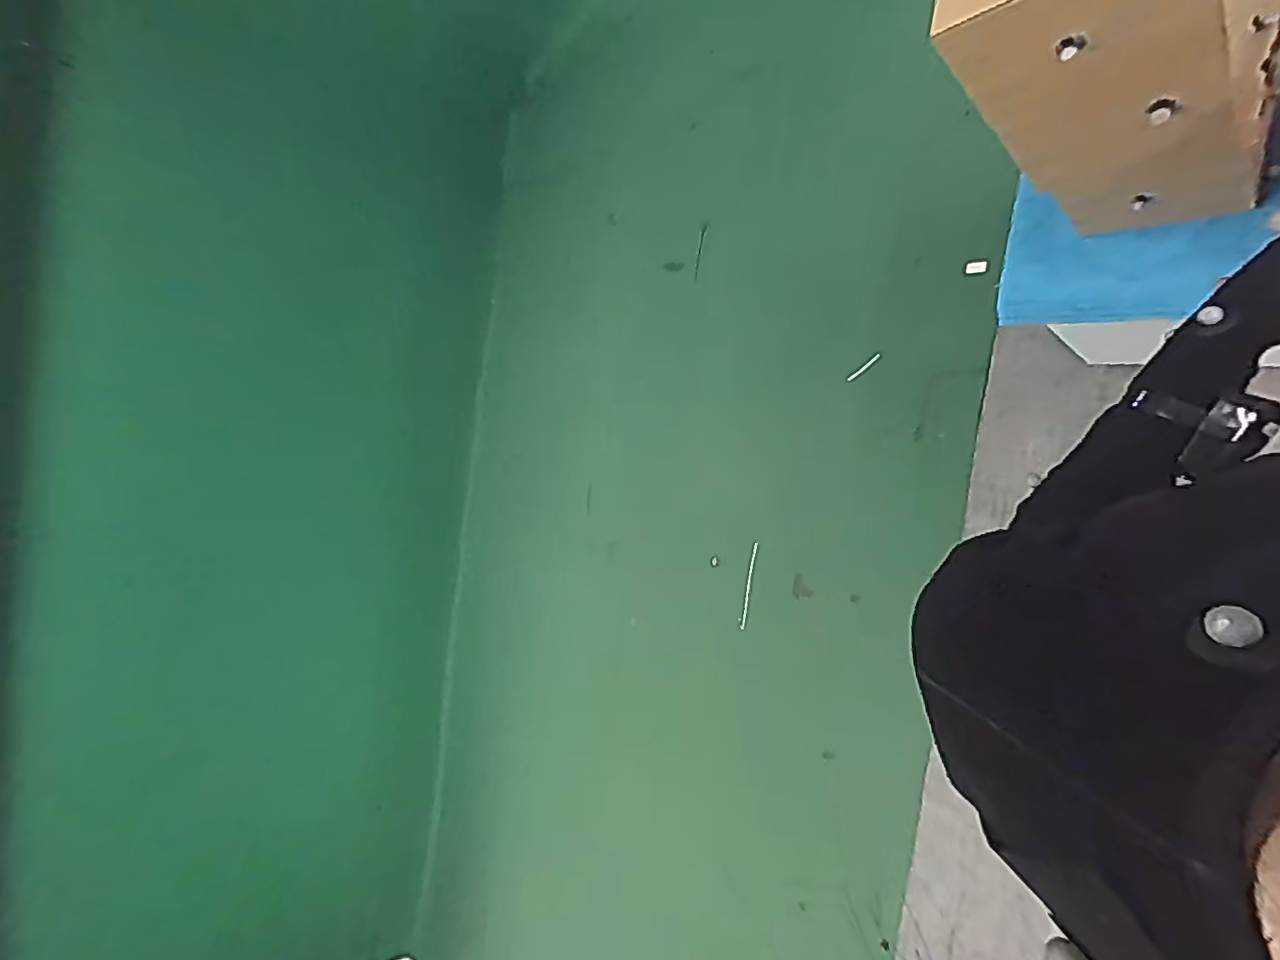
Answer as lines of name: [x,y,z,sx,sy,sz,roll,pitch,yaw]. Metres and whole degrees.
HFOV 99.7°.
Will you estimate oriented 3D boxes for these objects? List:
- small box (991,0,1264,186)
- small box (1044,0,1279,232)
small box: [0.498,-0.435,0.553,0.179,0.176,0.168,13,95,49]
small box: [0.628,-0.424,0.653,0.179,0.176,0.168,12,95,50]
